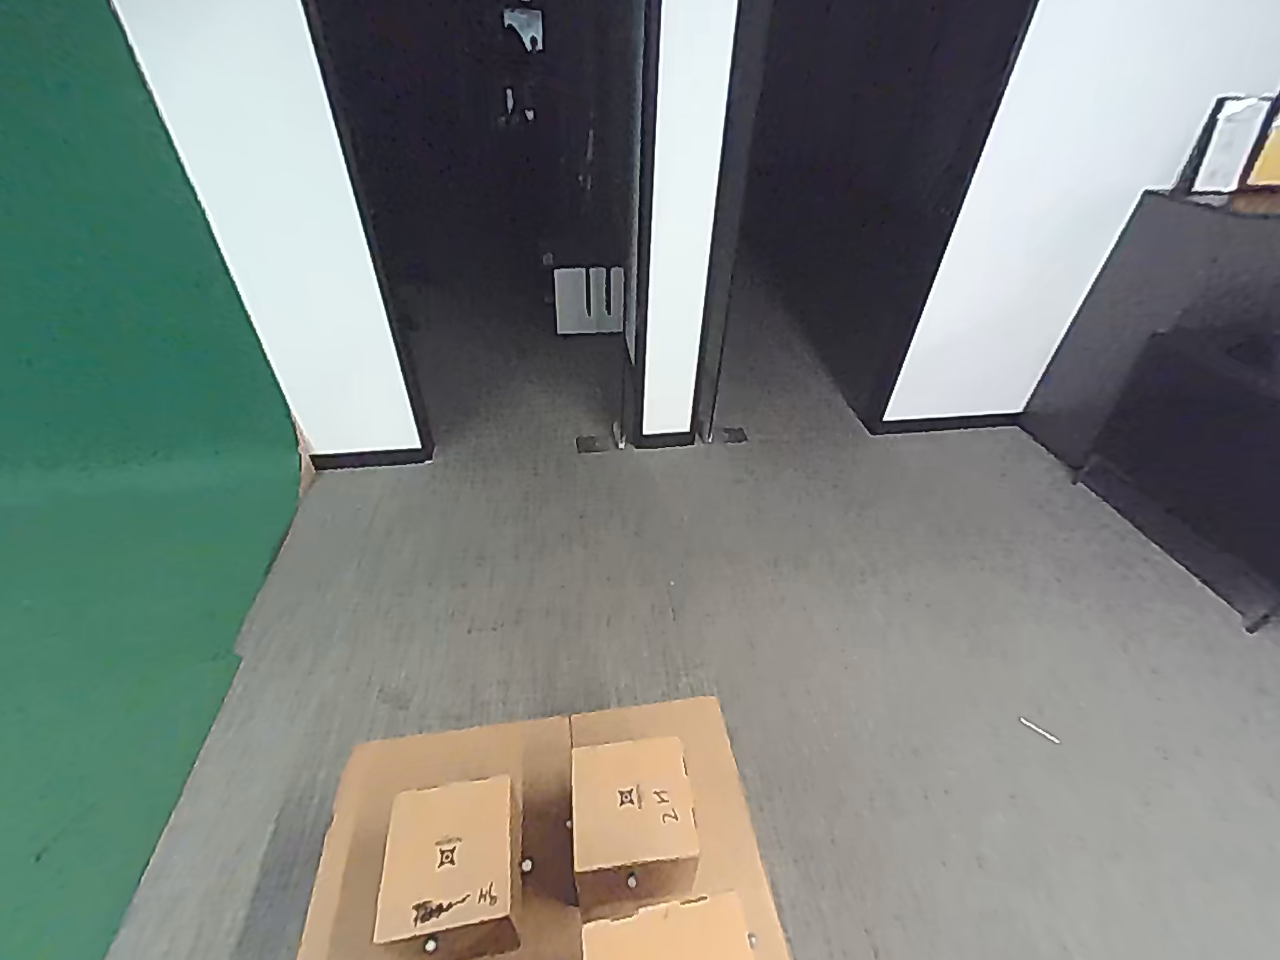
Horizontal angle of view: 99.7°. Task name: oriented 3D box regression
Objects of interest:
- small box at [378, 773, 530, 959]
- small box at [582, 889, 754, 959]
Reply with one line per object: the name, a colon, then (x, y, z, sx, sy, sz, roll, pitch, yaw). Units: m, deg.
small box: (-0.253, 0.561, 0.781, 0.168, 0.176, 0.179, -7, 39, -8)
small box: (0.037, 0.554, 0.544, 0.168, 0.176, 0.179, -7, 40, -8)
